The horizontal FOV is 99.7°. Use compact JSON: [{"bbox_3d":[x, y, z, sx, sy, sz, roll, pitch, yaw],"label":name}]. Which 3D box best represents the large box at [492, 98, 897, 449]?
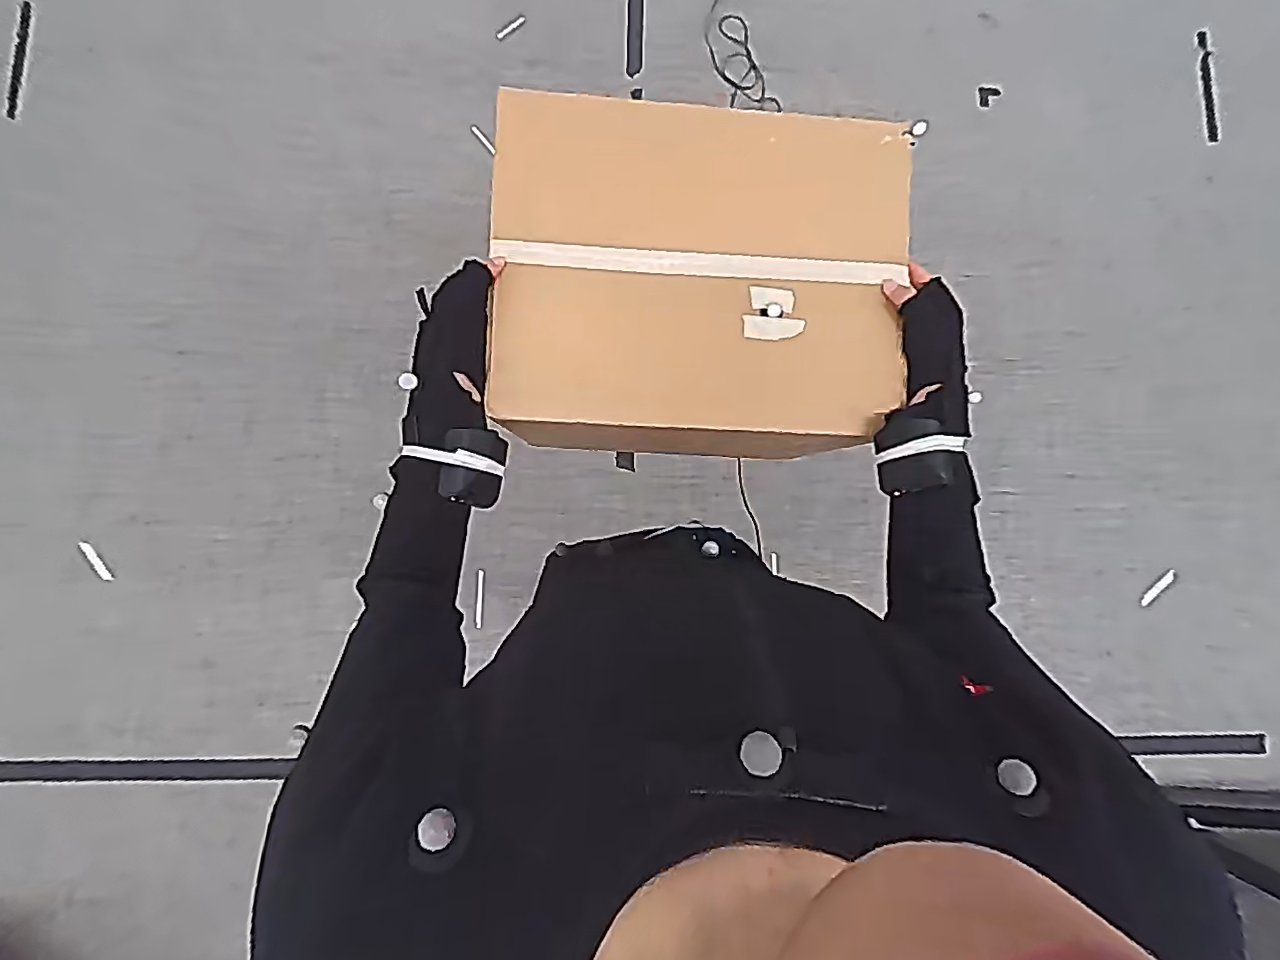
[{"bbox_3d":[0.046,-0.209,0.681,0.408,0.320,0.320,3,90,-5],"label":"large box"}]
